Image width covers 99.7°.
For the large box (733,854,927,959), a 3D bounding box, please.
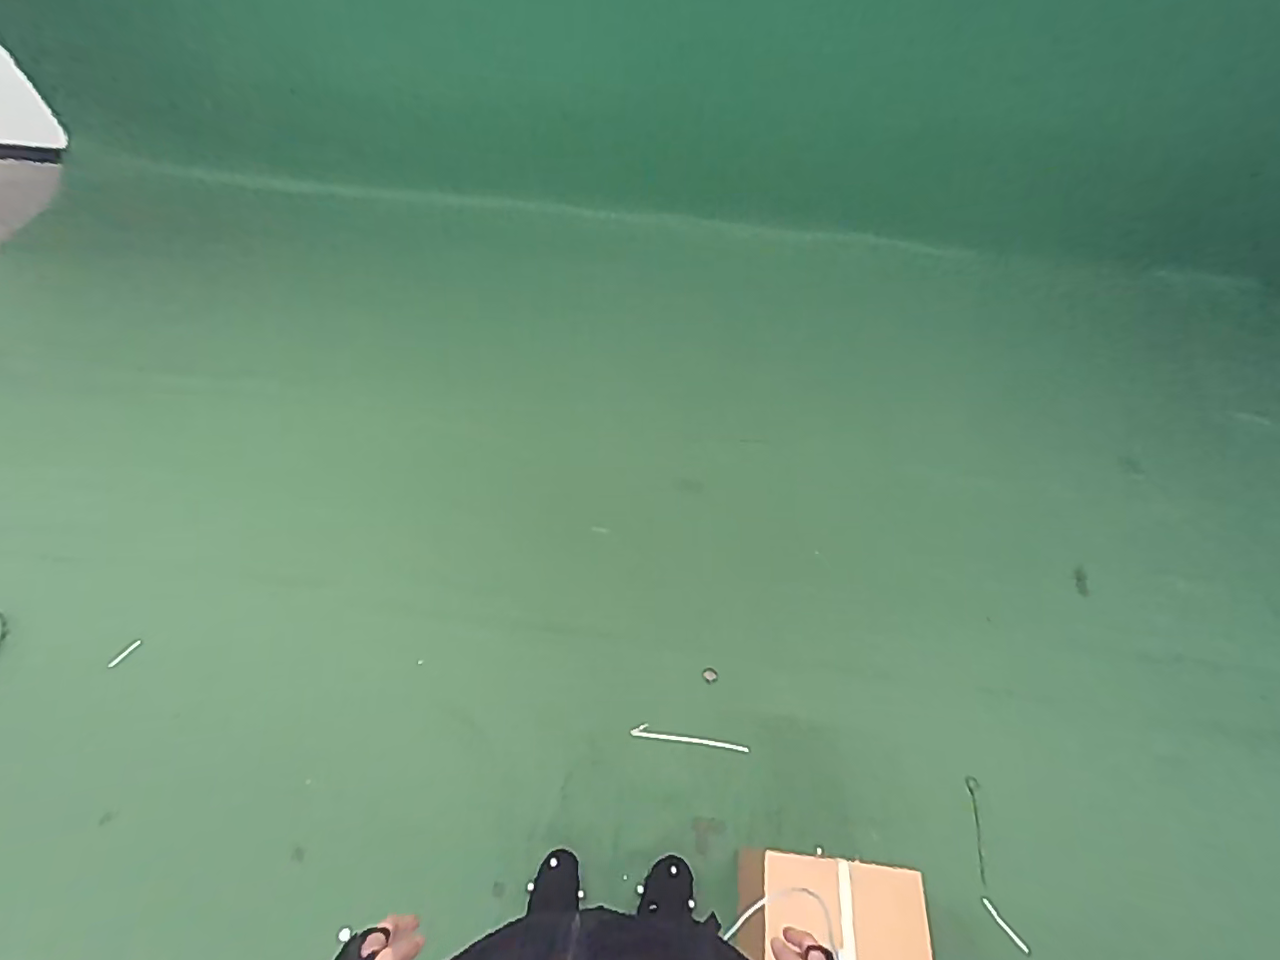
[{"bbox_3d":[0.371,1.021,1.097,0.320,0.320,0.408,6,57,2],"label":"large box"}]
